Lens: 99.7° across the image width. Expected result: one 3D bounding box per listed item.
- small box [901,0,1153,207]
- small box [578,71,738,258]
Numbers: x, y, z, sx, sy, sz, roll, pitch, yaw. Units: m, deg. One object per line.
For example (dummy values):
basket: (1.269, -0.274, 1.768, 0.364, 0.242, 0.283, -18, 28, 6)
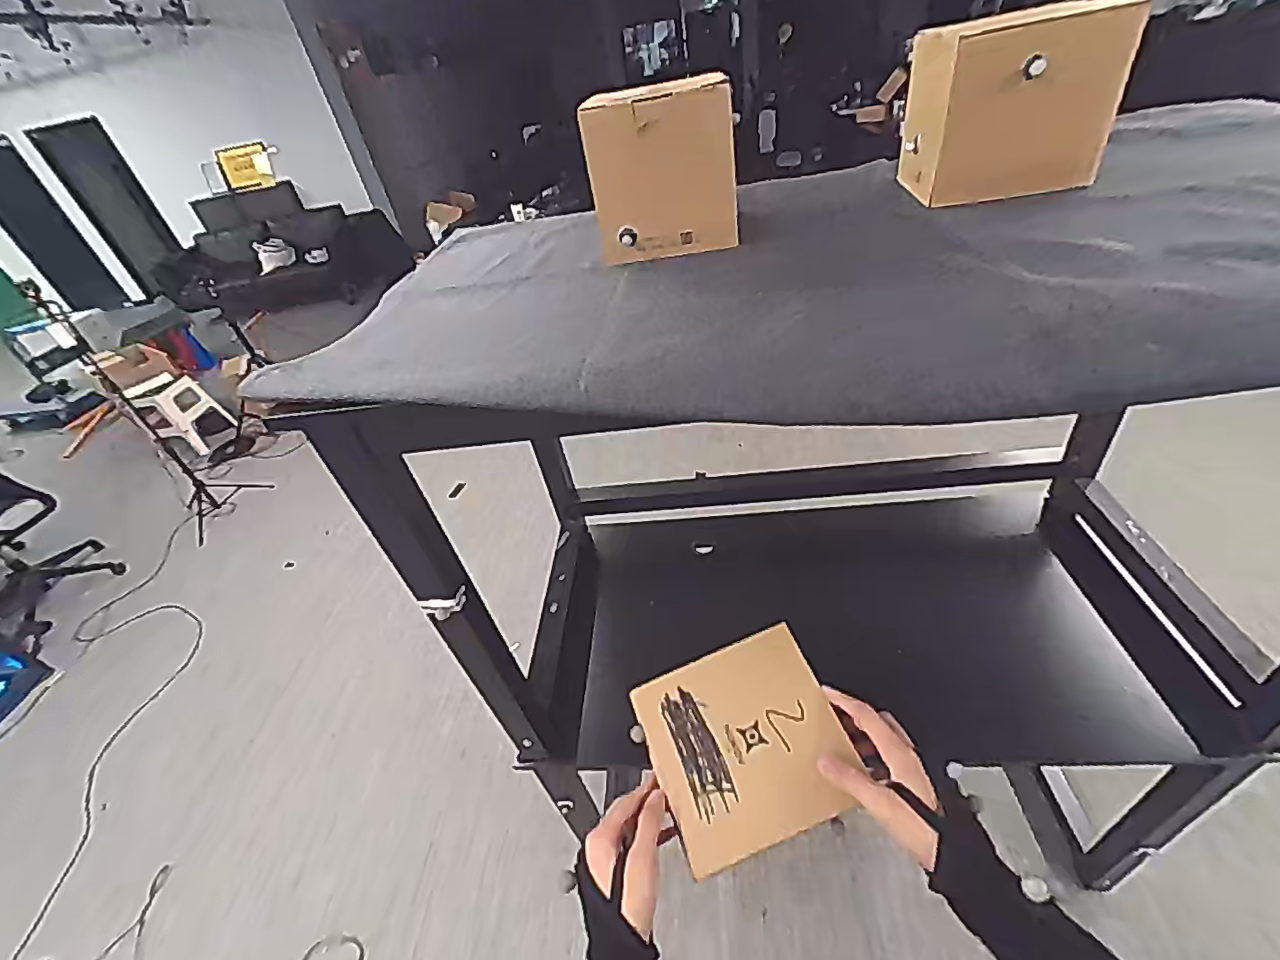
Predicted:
small box: (0.431, -0.444, 0.642, 0.179, 0.176, 0.168, -4, 39, 12)
small box: (0.031, -0.391, 0.682, 0.168, 0.176, 0.179, -5, 38, 9)
